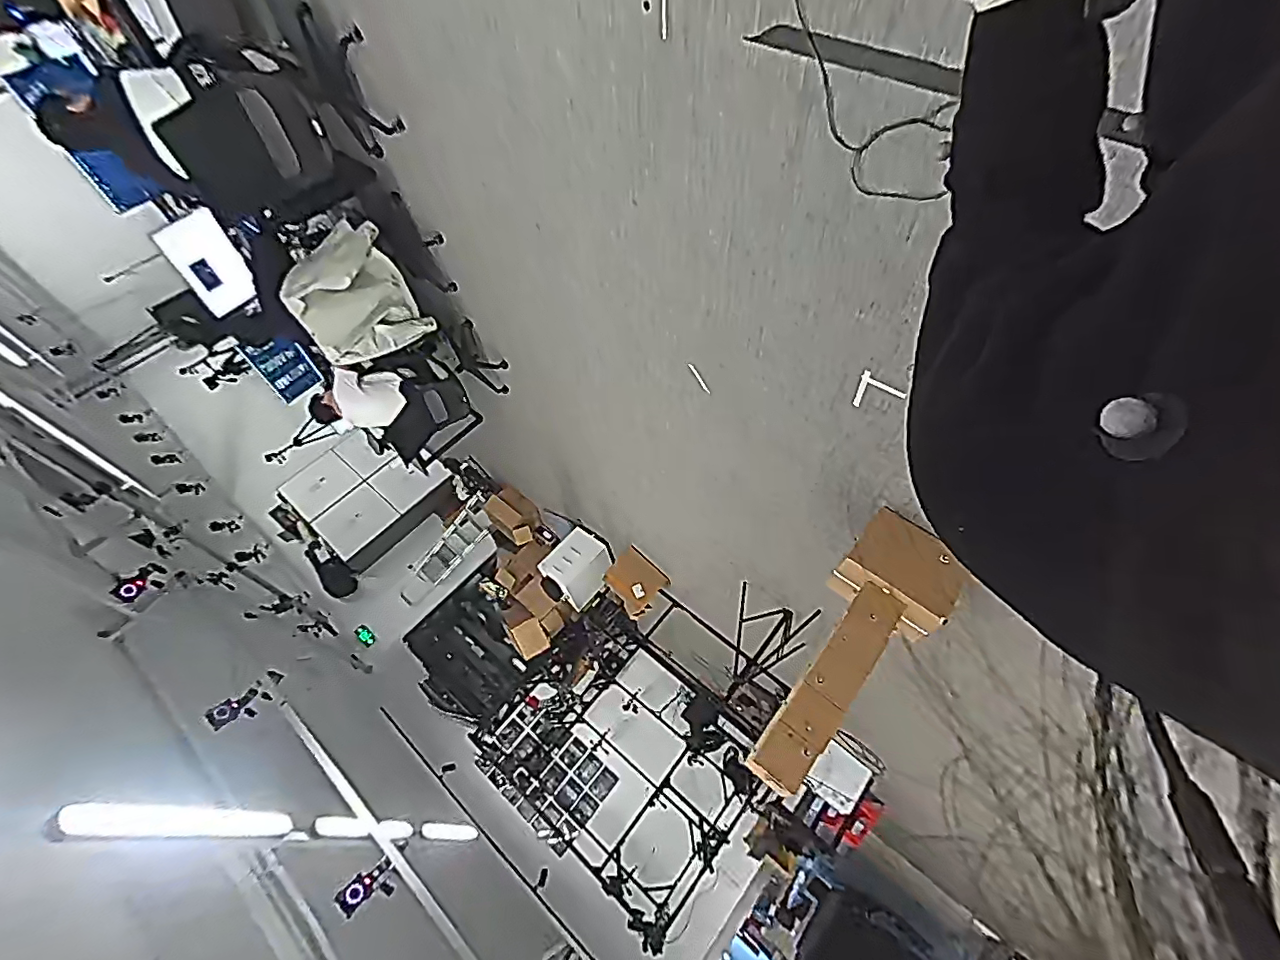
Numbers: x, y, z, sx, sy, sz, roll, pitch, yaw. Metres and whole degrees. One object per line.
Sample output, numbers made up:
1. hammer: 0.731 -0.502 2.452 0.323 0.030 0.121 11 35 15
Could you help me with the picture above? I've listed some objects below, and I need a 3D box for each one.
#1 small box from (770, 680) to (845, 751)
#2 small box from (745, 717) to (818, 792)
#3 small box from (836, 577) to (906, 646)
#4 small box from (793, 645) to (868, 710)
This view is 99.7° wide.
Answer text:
1. small box: 0.599 0.842 1.938 0.179 0.176 0.168 36 154 19
2. small box: 0.491 0.949 1.874 0.168 0.176 0.179 36 155 19
3. small box: 0.913 0.517 2.130 0.179 0.176 0.168 35 154 23
4. small box: 0.703 0.735 2.001 0.179 0.176 0.168 36 155 19
